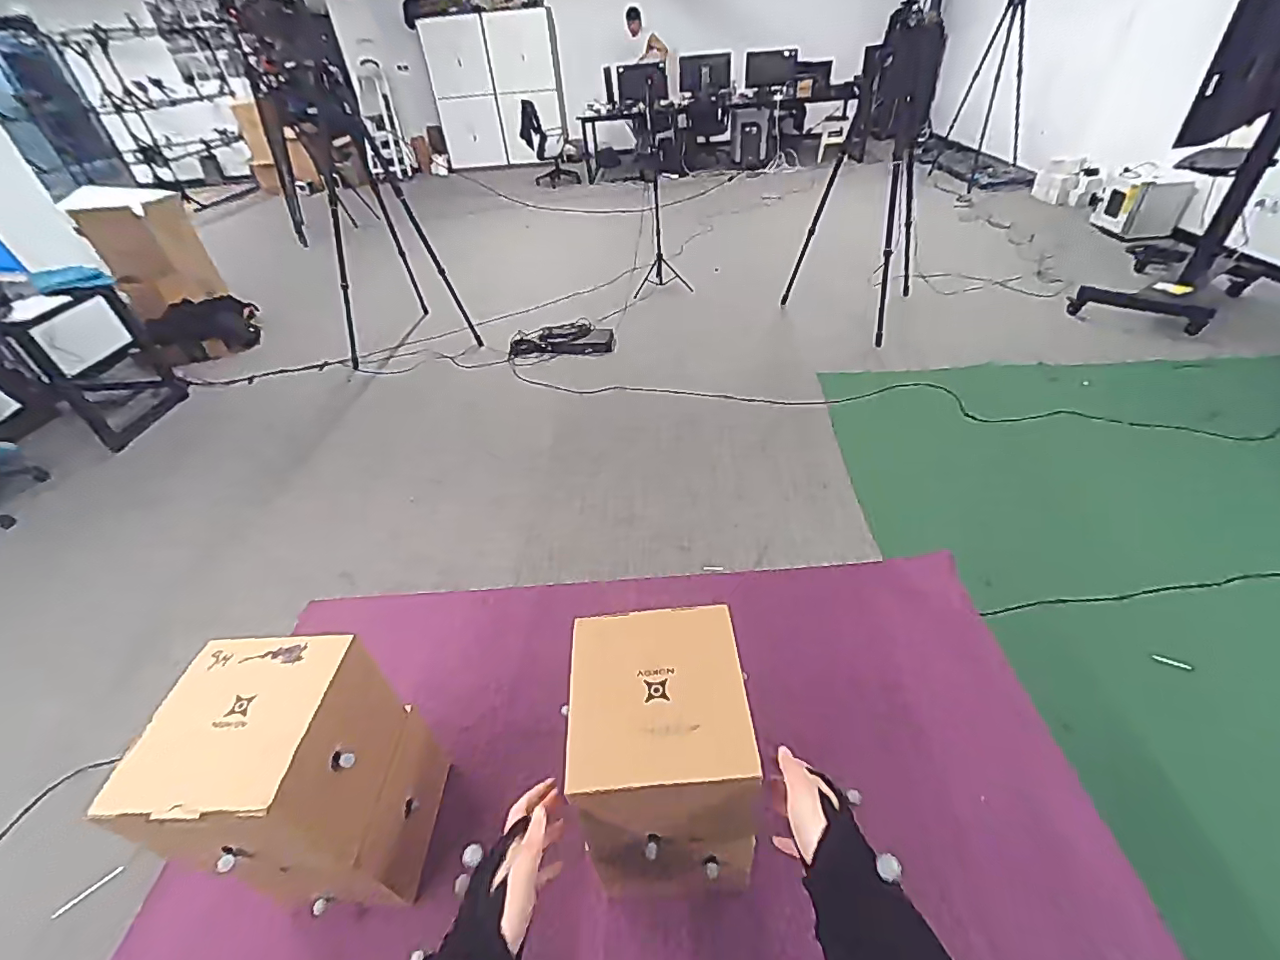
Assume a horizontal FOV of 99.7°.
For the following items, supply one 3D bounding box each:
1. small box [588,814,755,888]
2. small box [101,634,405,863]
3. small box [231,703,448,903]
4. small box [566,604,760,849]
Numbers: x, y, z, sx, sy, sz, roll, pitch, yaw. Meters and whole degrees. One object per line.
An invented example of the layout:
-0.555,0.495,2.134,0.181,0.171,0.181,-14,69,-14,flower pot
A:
0.037,0.381,0.666,0.179,0.176,0.168,-4,39,2,small box
-0.378,0.287,0.576,0.168,0.176,0.179,-2,41,3,small box
-0.361,0.407,0.687,0.168,0.176,0.179,-3,41,3,small box
0.022,0.255,0.564,0.168,0.176,0.179,-6,41,2,small box
